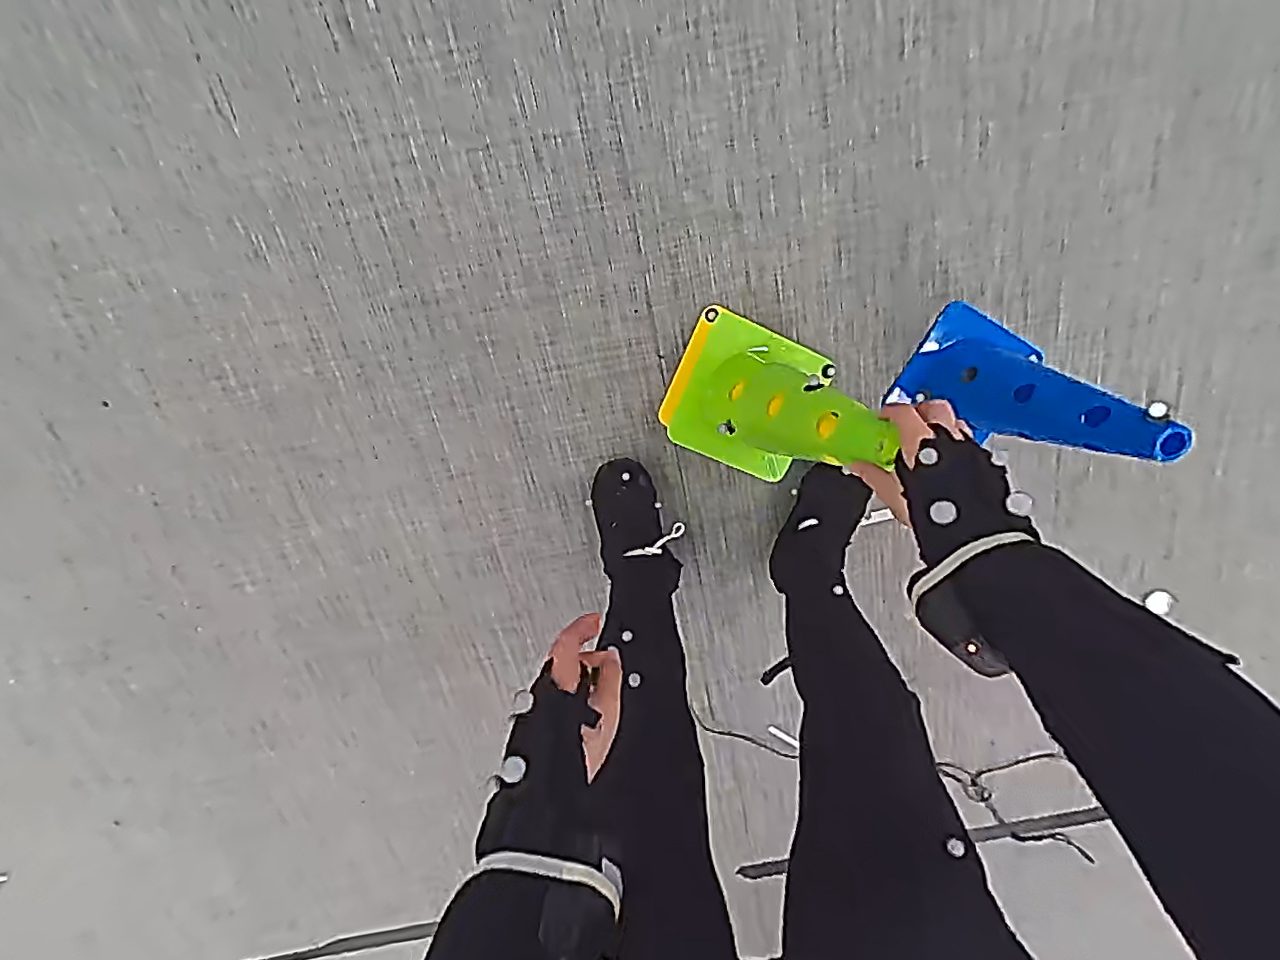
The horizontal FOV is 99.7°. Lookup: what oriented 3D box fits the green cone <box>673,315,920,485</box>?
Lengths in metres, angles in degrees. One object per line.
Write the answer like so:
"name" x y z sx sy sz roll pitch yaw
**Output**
"green cone" 0.191 -0.067 0.622 0.200 0.368 0.202 21 101 -13
